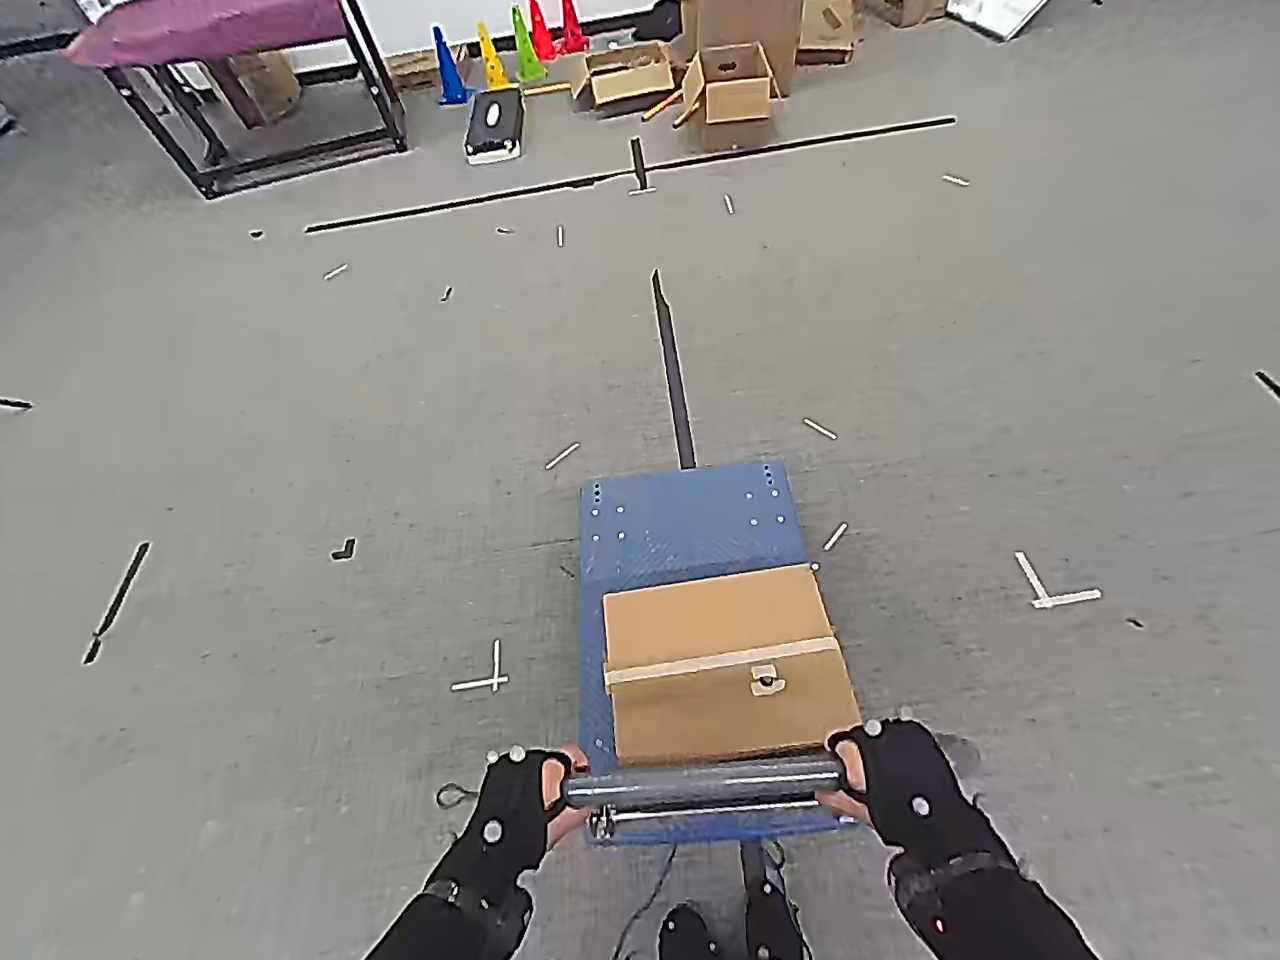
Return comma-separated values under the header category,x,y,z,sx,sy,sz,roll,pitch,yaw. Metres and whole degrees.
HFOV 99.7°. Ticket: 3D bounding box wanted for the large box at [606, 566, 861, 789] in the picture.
category,x,y,z,sx,sy,sz,roll,pitch,yaw
large box,0.162,0.407,1.089,0.408,0.320,0.320,-9,57,0
